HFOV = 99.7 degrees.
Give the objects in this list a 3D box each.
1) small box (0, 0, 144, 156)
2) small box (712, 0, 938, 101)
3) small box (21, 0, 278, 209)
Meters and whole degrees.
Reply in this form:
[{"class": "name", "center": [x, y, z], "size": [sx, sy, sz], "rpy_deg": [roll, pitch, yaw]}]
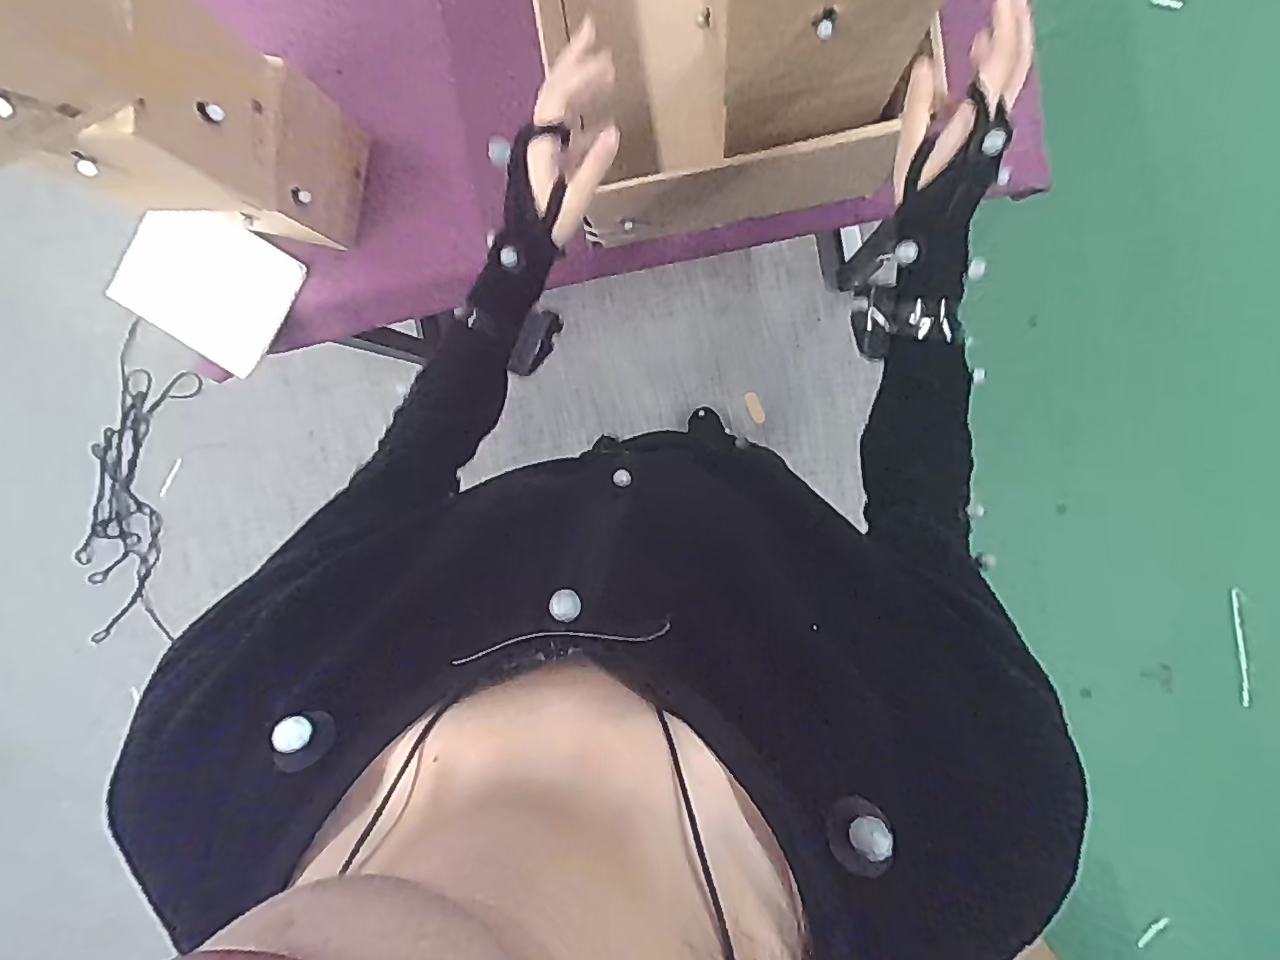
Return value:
[{"class": "small box", "center": [-0.531, -0.384, 0.392], "size": [0.168, 0.176, 0.179], "rpy_deg": [-18, 93, 8]}, {"class": "small box", "center": [0.146, -0.448, 0.432], "size": [0.179, 0.176, 0.168], "rpy_deg": [-7, 93, 9]}, {"class": "small box", "center": [-0.508, -0.396, 0.554], "size": [0.179, 0.176, 0.168], "rpy_deg": [4, 95, 6]}]
